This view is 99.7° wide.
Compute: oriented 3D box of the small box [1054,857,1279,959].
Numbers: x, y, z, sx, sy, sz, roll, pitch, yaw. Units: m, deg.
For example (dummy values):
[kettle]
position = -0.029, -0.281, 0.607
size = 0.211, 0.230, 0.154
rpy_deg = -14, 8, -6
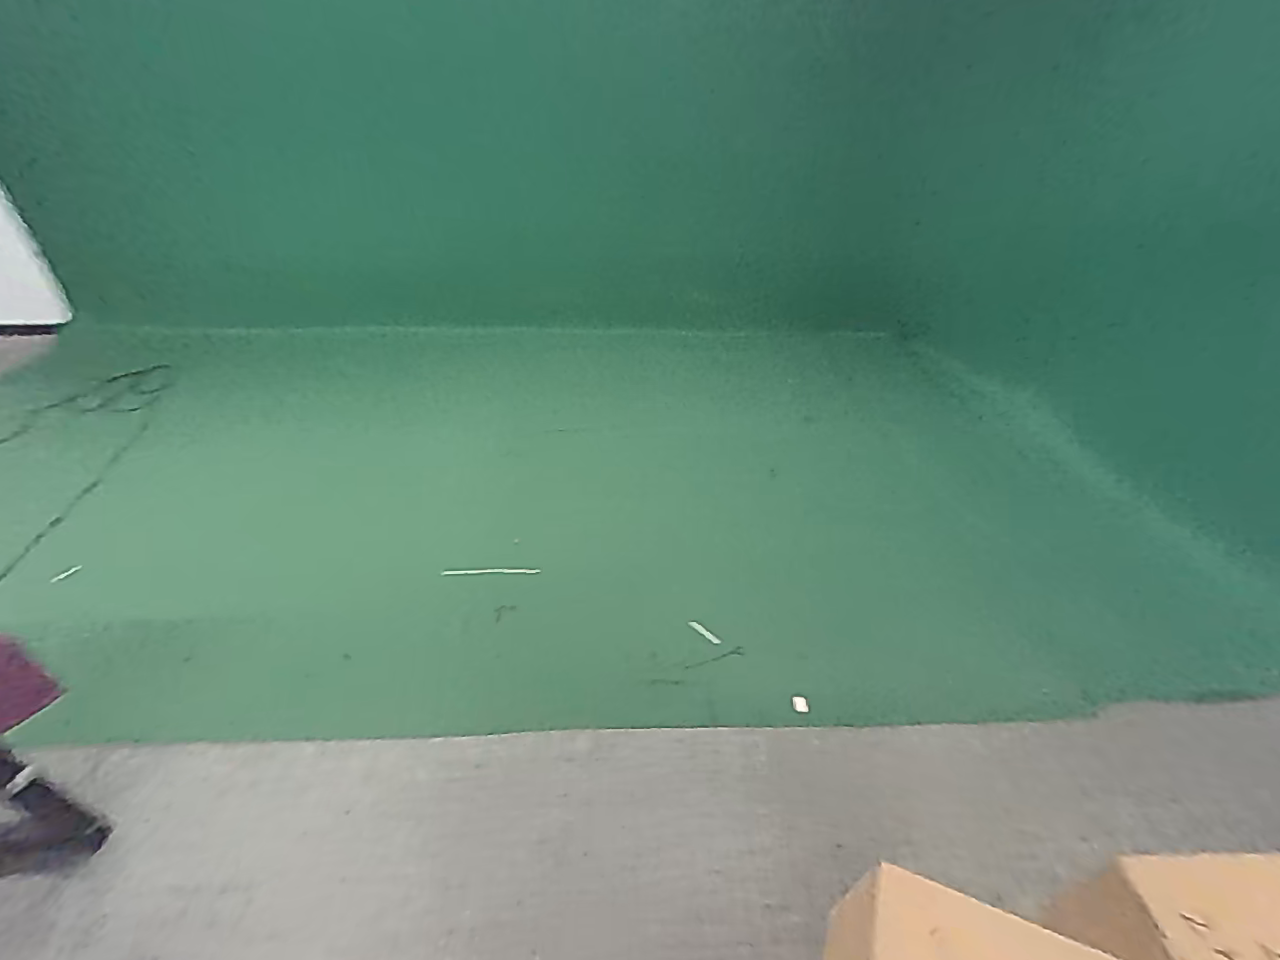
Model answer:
[small box]
position = 0.538, 0.466, 0.489
size = 0.179, 0.176, 0.168
rpy_deg = -1, 37, 0
